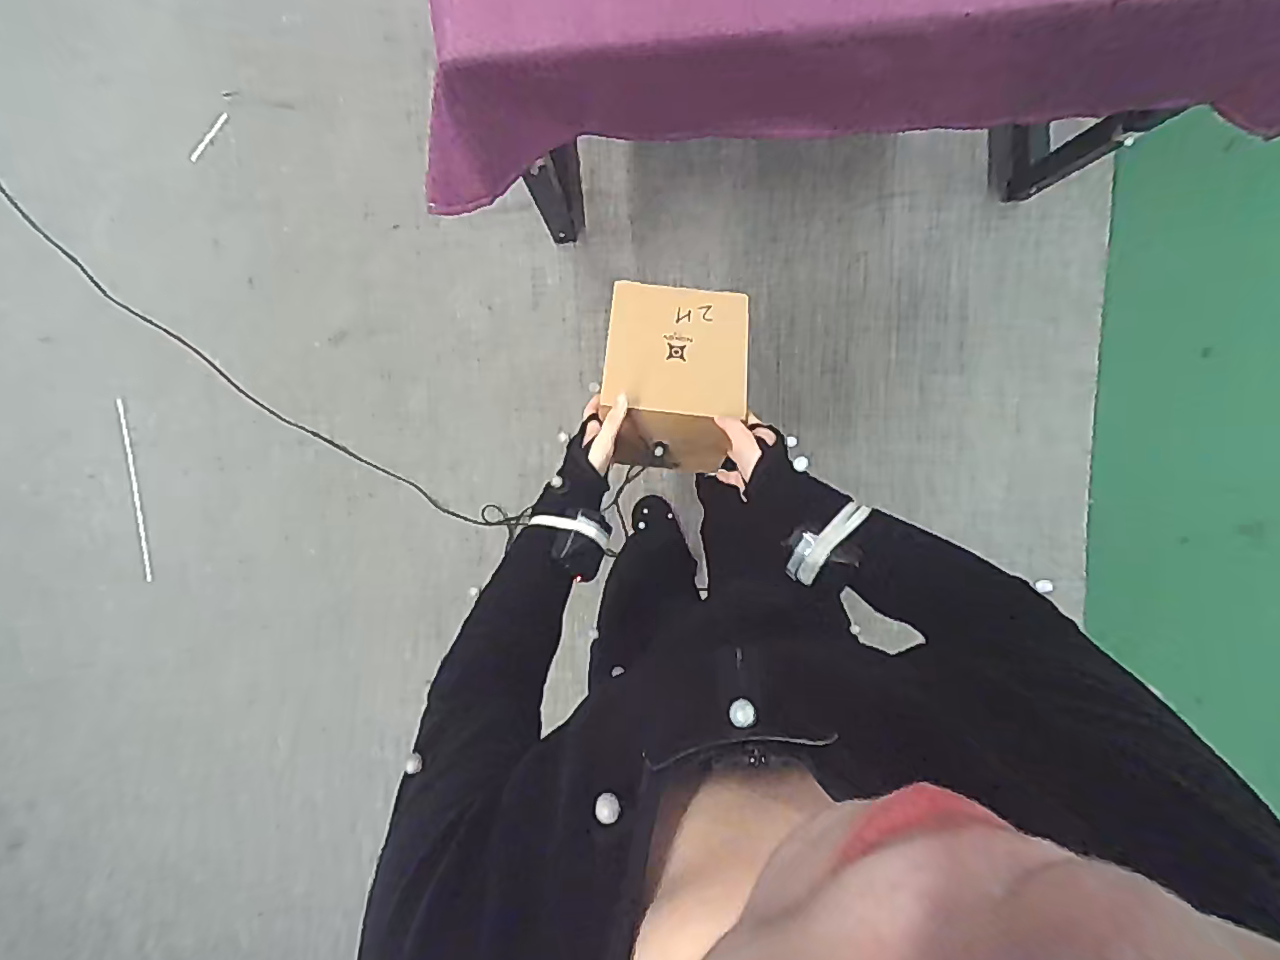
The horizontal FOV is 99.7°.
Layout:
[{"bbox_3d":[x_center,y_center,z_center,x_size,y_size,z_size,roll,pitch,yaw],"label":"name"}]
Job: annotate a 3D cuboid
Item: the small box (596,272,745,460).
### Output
[{"bbox_3d":[0.036,-0.139,0.710,0.168,0.176,0.179,6,70,-1],"label":"small box"}]
